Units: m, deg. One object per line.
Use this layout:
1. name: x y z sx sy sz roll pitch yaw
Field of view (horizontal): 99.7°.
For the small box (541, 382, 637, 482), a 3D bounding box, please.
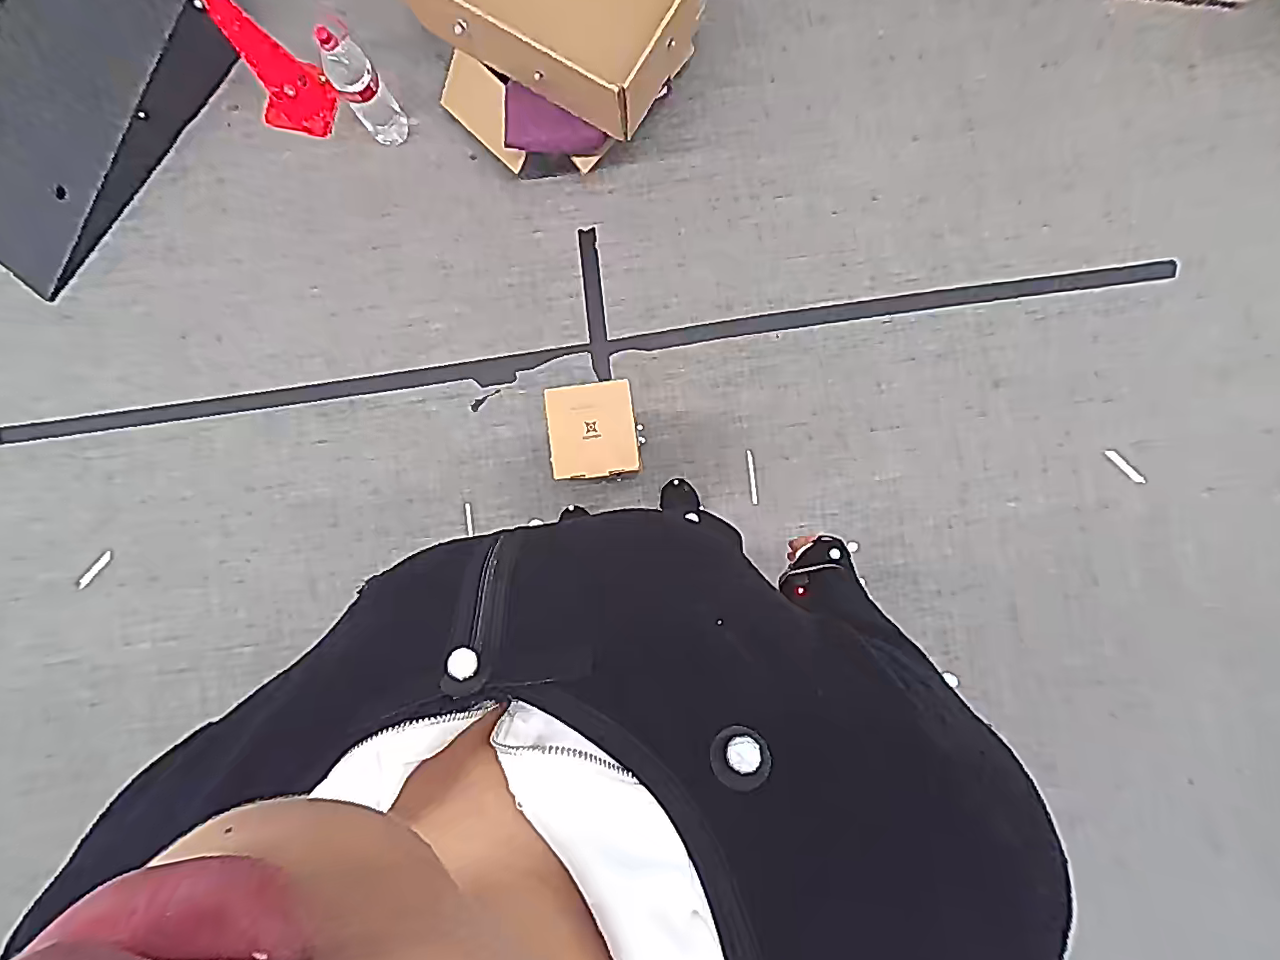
1. small box: -0.096 -0.090 1.103 0.168 0.176 0.179 -7 88 0
